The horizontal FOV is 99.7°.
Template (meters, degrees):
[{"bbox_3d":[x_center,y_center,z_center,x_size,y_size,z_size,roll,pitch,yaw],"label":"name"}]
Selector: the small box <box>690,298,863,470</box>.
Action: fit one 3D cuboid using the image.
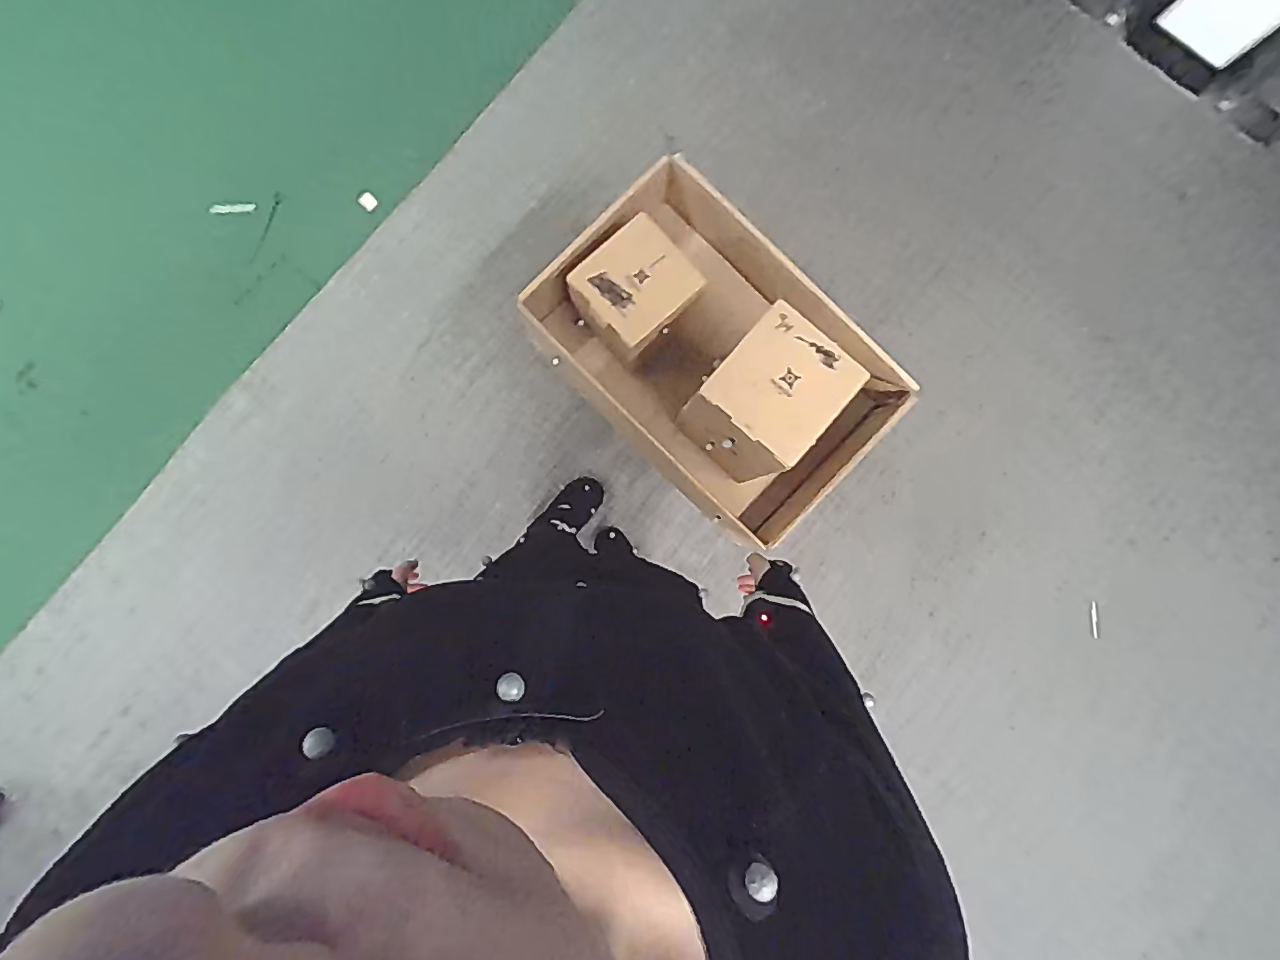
[{"bbox_3d":[0.190,-0.130,0.816,0.168,0.176,0.179,42,87,1],"label":"small box"}]
